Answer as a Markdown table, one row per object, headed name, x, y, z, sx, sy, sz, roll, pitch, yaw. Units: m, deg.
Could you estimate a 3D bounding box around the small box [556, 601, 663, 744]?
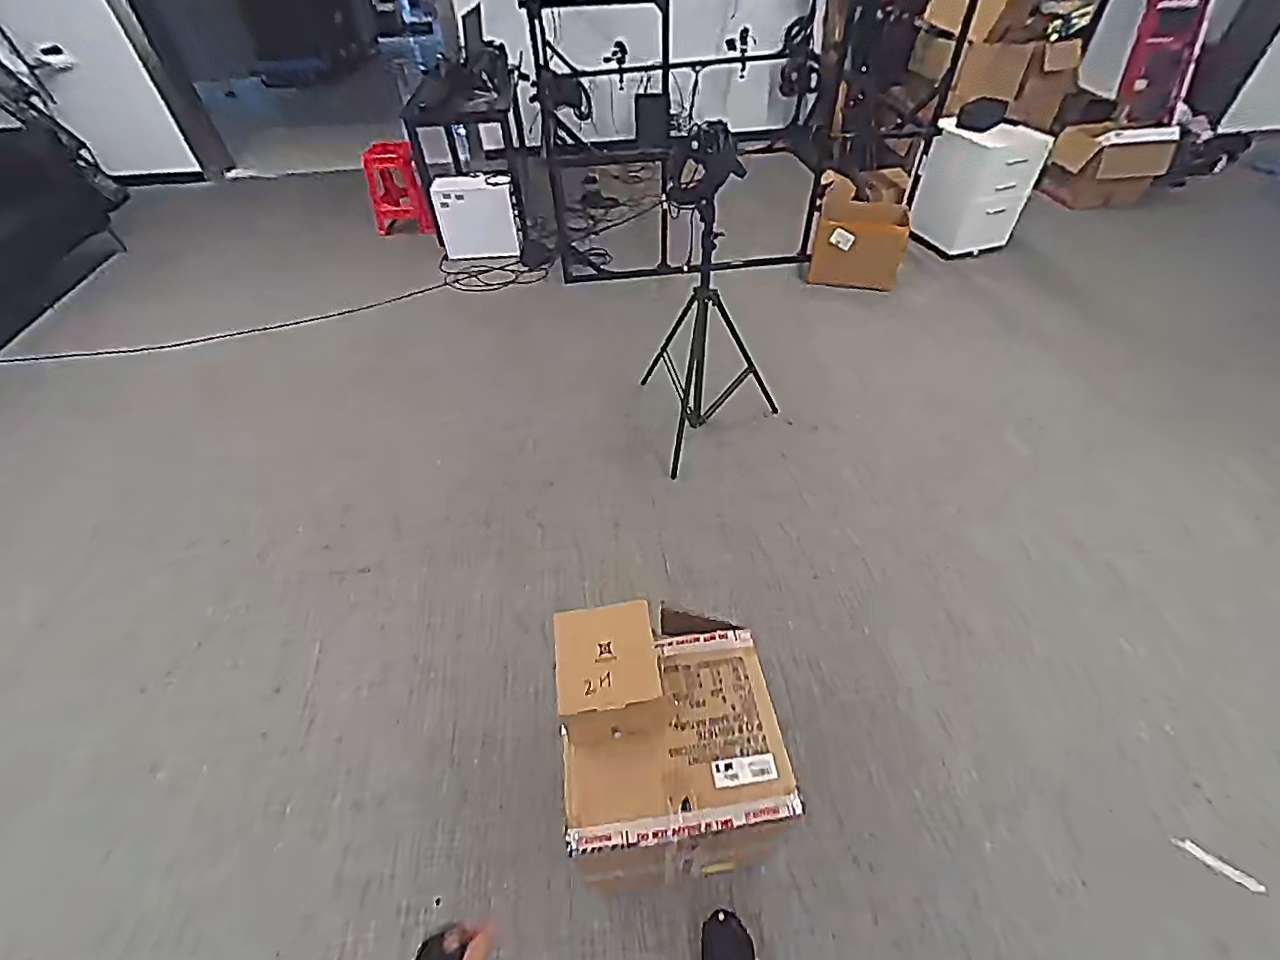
| name | x | y | z | sx | sy | sz | roll | pitch | yaw |
| --- | --- | --- | --- | --- | --- | --- | --- | --- | --- |
| small box | -0.053 | 0.337 | 0.946 | 0.168 | 0.176 | 0.179 | -8 | 50 | -3 |
